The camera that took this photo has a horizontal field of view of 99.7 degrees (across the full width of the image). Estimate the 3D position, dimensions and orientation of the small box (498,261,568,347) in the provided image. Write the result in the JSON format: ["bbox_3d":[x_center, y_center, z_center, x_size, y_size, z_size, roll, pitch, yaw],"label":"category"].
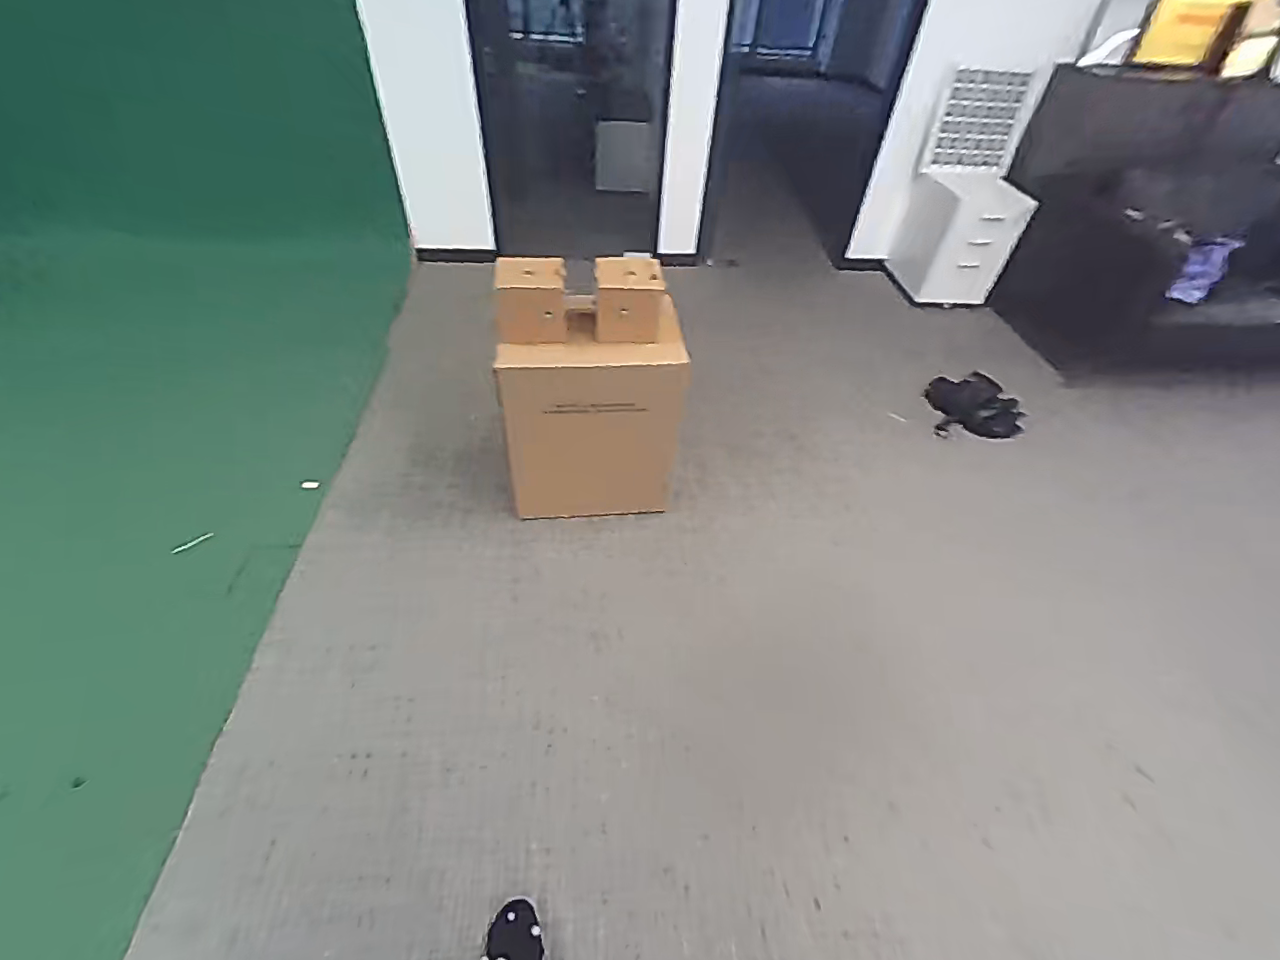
[{"bbox_3d":[-0.289,-0.485,1.496,0.179,0.176,0.168,-4,48,-7],"label":"small box"}]

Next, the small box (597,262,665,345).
[{"bbox_3d":[-0.030,-0.496,1.528,0.179,0.176,0.168,-1,49,-6],"label":"small box"}]
